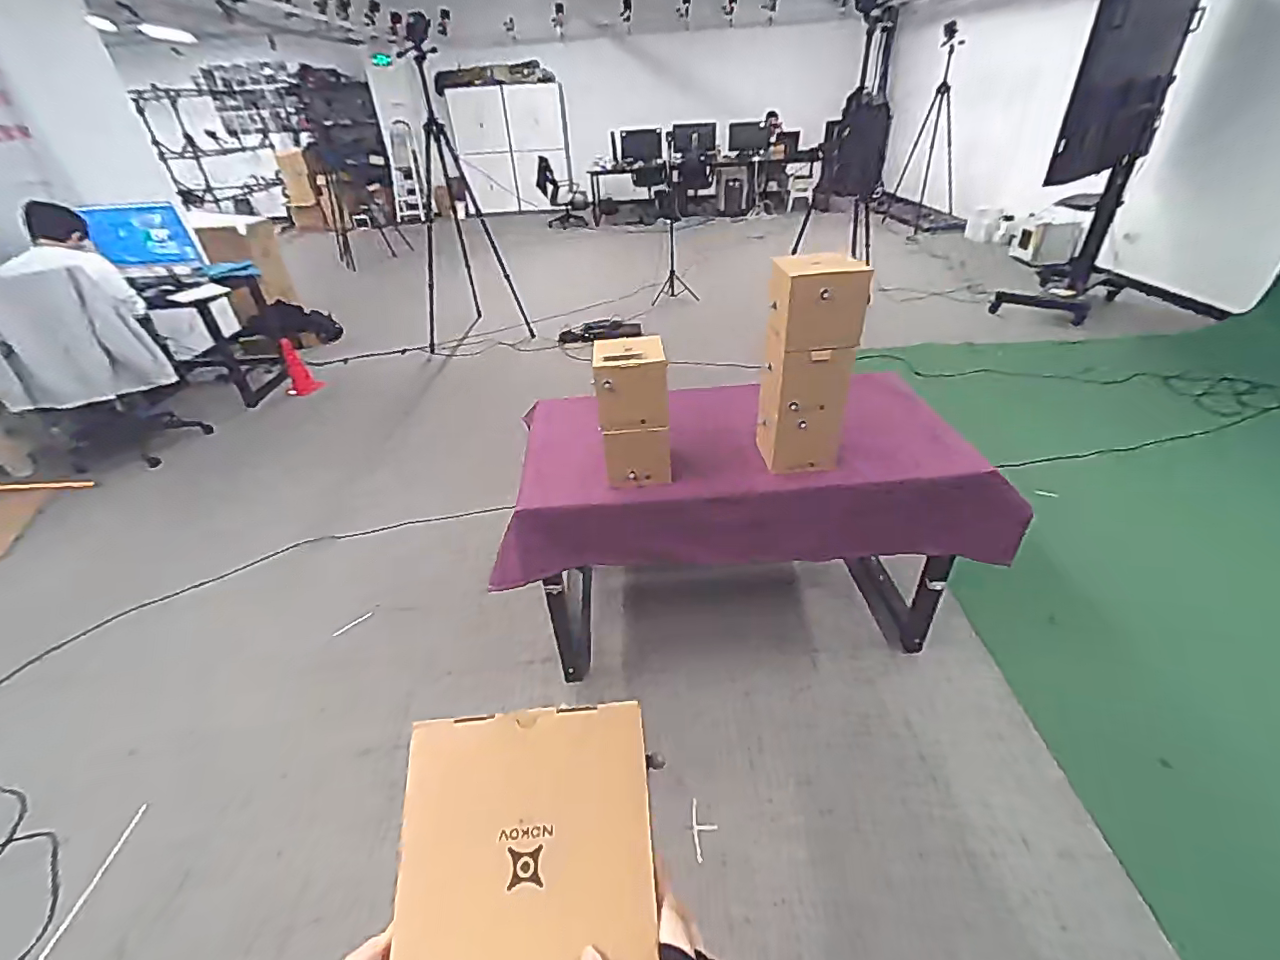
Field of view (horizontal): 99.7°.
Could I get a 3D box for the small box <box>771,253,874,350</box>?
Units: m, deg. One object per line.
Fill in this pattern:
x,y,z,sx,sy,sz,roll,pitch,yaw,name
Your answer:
0.399,-0.401,1.222,0.179,0.176,0.168,-4,36,0,small box

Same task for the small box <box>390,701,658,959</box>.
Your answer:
-0.074,0.280,0.426,0.168,0.176,0.179,-5,63,-2,small box

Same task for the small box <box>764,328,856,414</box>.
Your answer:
0.407,-0.269,1.320,0.168,0.176,0.179,-5,34,-1,small box

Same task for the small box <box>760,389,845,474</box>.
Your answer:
0.415,-0.134,1.414,0.168,0.176,0.179,-6,34,0,small box

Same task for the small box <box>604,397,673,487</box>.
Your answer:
-0.004,-0.098,1.407,0.168,0.176,0.179,-4,36,0,small box
